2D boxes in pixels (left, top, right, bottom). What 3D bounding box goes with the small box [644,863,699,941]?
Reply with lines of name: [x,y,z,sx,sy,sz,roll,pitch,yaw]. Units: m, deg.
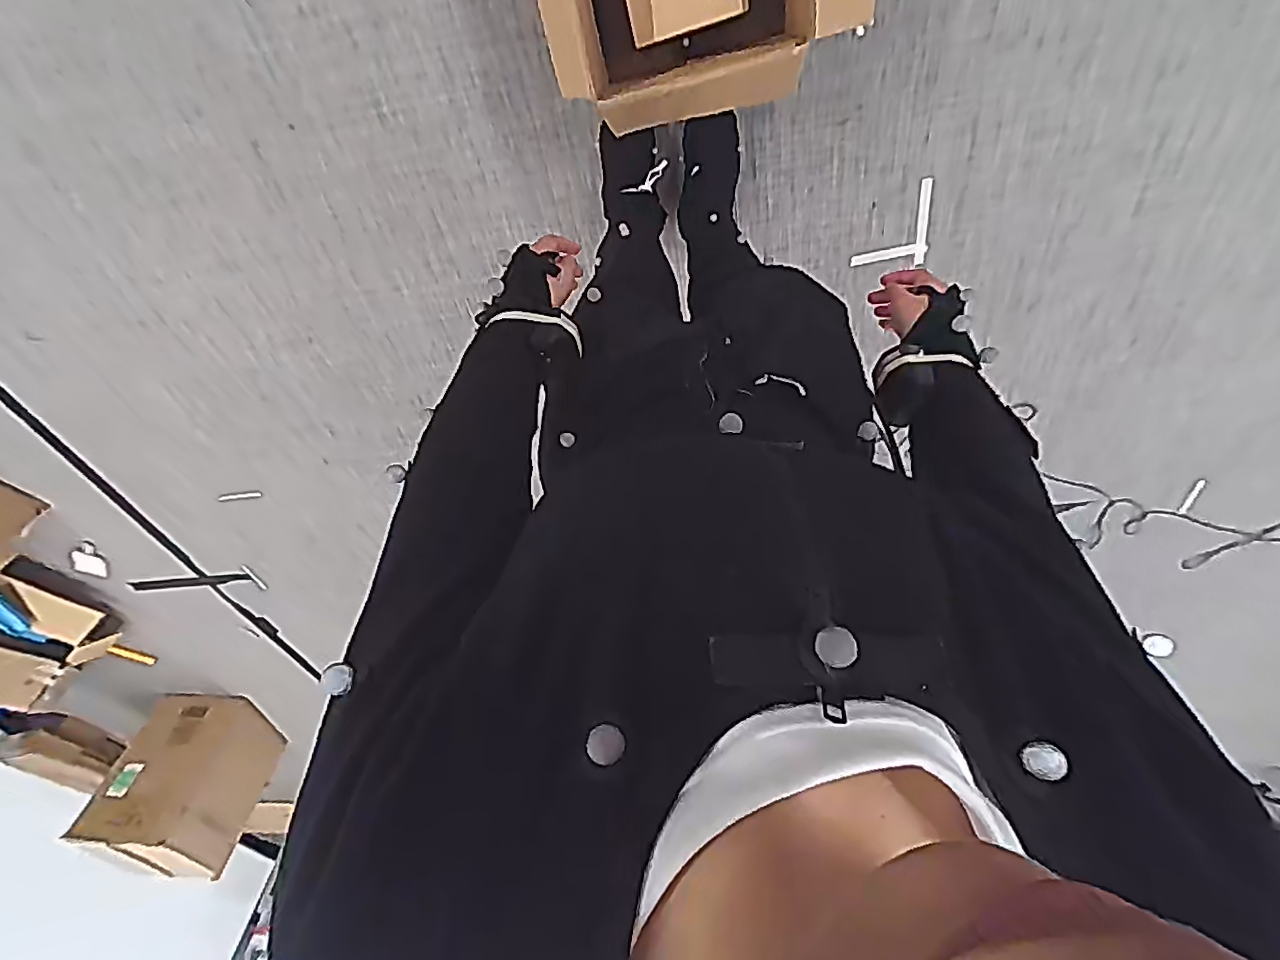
small box: [0.106,1.360,1.742,0.168,0.176,0.179,-4,132,6]
